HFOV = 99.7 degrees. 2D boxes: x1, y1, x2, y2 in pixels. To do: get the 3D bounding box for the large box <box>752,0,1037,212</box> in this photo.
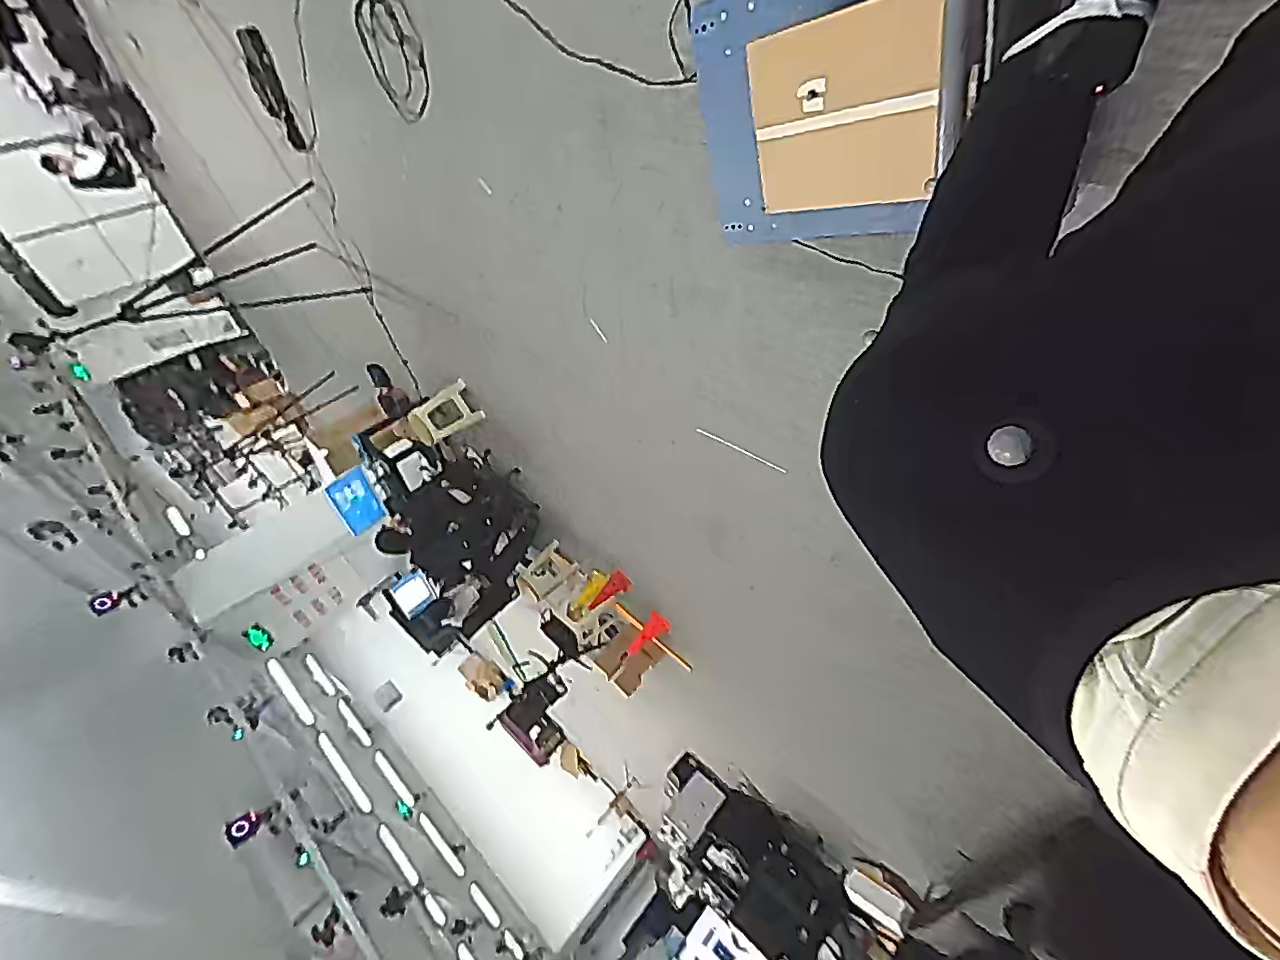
[{"bbox_3d":[0.491,-0.754,1.062,0.408,0.320,0.320,21,139,43],"label":"large box"}]
